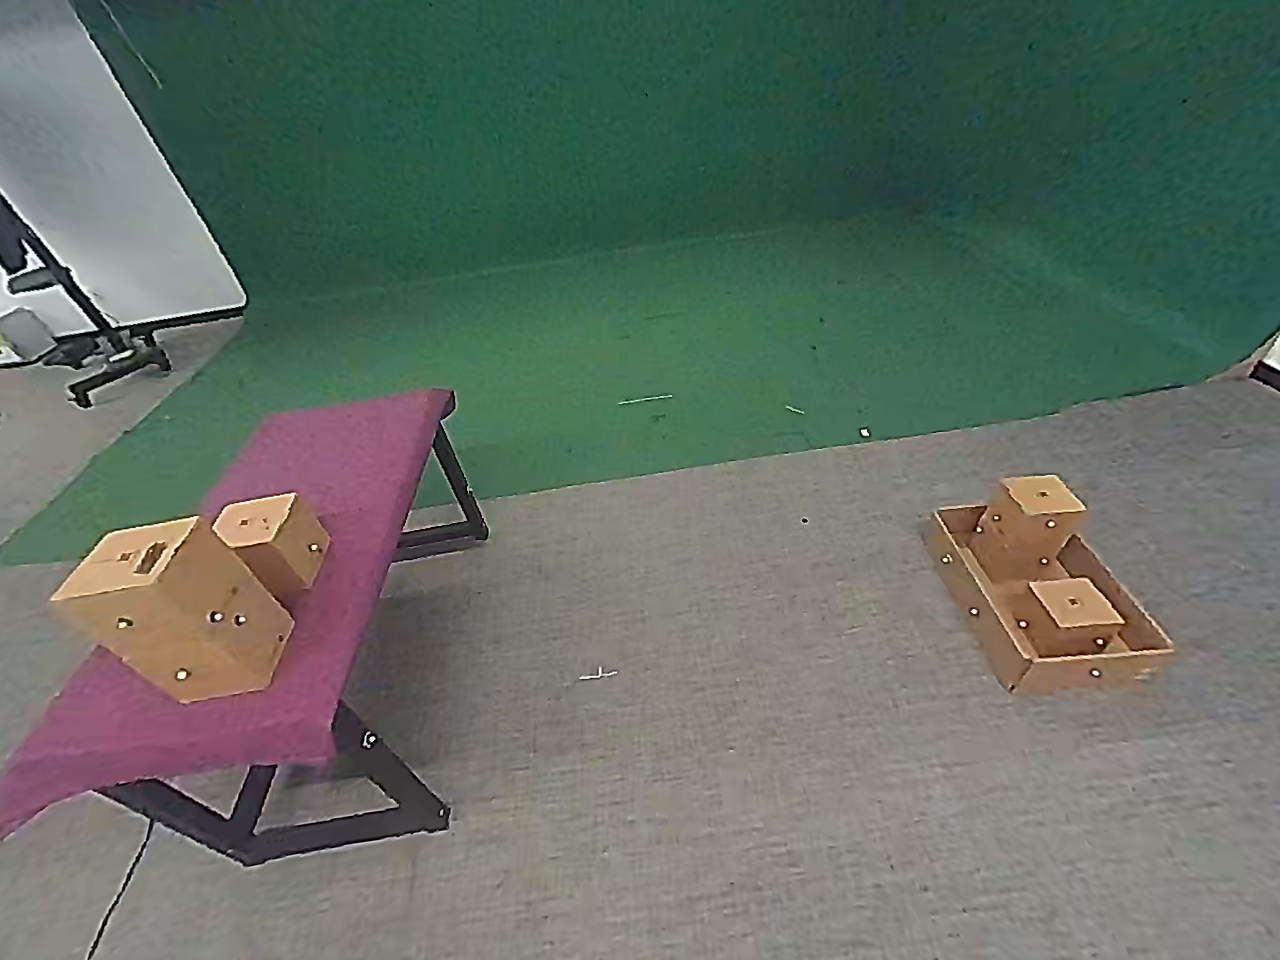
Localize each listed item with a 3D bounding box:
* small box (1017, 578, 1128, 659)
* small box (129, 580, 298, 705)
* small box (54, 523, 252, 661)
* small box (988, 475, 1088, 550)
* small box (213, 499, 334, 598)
[{"bbox_3d":[1.278,0.414,1.614,0.179,0.176,0.168,-6,39,4],"label":"small box"},{"bbox_3d":[-0.848,0.333,1.097,0.179,0.176,0.168,-11,40,0],"label":"small box"},{"bbox_3d":[-0.869,0.207,0.993,0.179,0.176,0.168,-11,40,0],"label":"small box"},{"bbox_3d":[1.260,0.105,1.725,0.179,0.176,0.168,-5,41,4],"label":"small box"},{"bbox_3d":[-0.877,0.173,1.290,0.179,0.176,0.168,-10,41,-1],"label":"small box"}]
